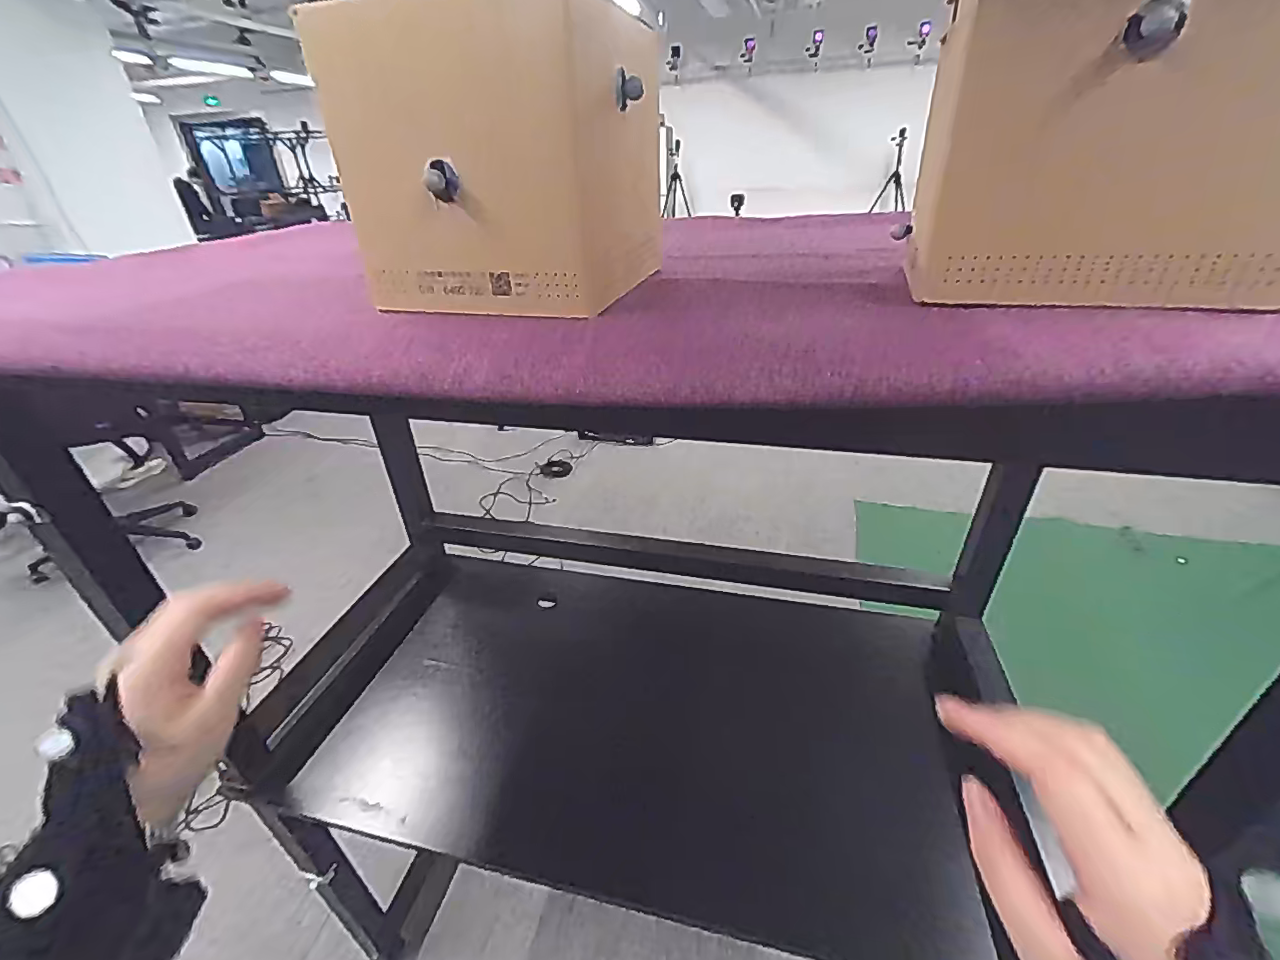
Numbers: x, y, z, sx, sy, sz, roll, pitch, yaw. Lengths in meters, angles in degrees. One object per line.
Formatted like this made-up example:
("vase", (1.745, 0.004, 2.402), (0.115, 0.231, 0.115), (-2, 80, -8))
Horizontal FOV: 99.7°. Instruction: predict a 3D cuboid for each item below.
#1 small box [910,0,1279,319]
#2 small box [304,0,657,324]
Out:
("small box", (0.274, -0.200, 0.330), (0.179, 0.176, 0.168), (8, 31, 18))
("small box", (-0.084, -0.218, 0.389), (0.168, 0.176, 0.179), (8, 33, 15))
